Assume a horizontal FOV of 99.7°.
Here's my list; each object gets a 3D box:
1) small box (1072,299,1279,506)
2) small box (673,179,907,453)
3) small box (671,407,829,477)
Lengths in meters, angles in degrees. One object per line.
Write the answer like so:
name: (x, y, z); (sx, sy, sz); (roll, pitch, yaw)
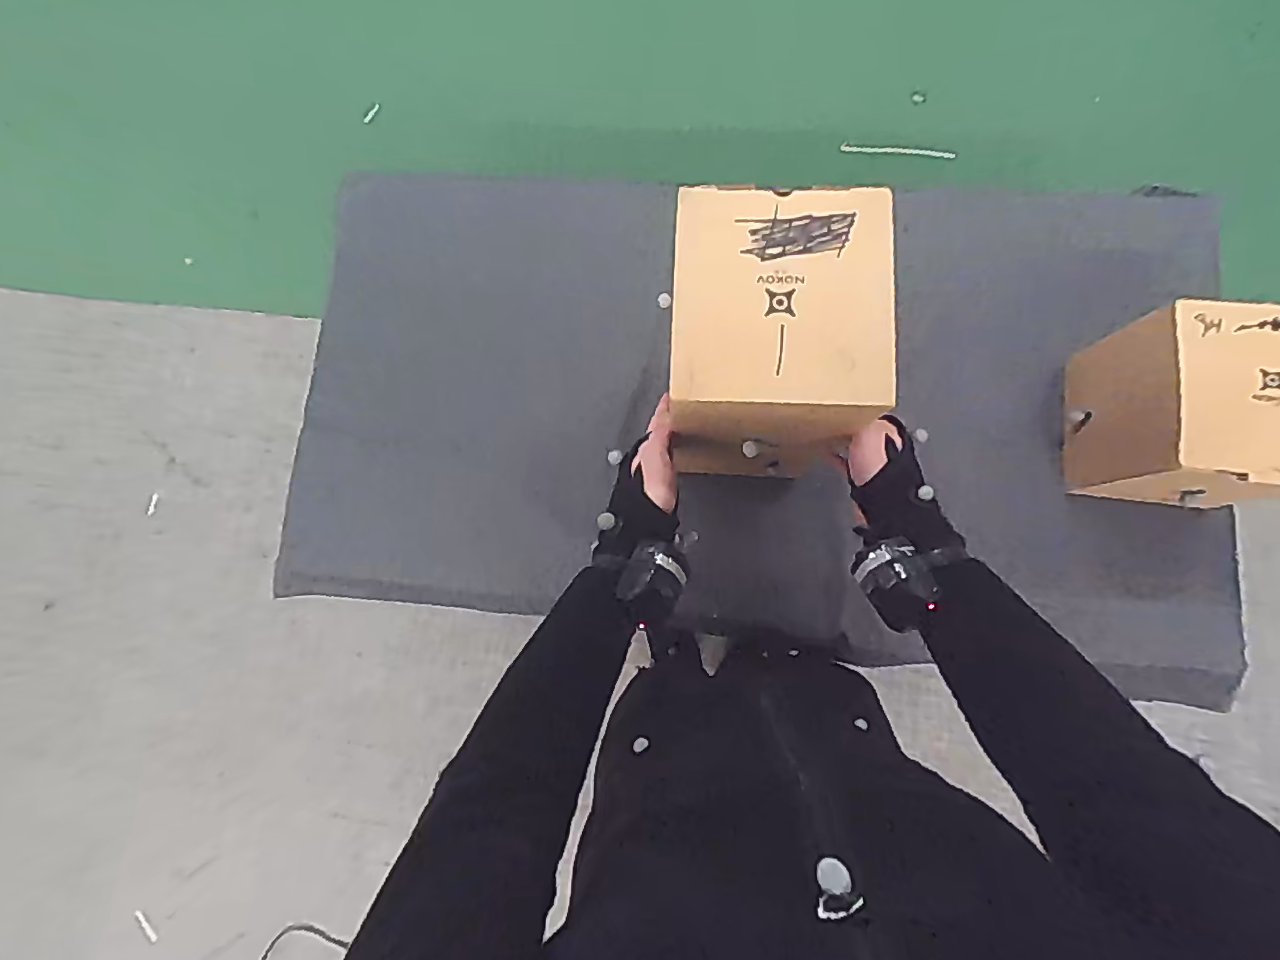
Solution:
small box: (0.609, -0.071, 0.584); (0.168, 0.176, 0.179); (6, 81, 7)
small box: (0.115, -0.130, 0.476); (0.168, 0.176, 0.179); (2, 80, 5)
small box: (0.126, -0.103, 0.638); (0.168, 0.176, 0.179); (3, 79, 5)
